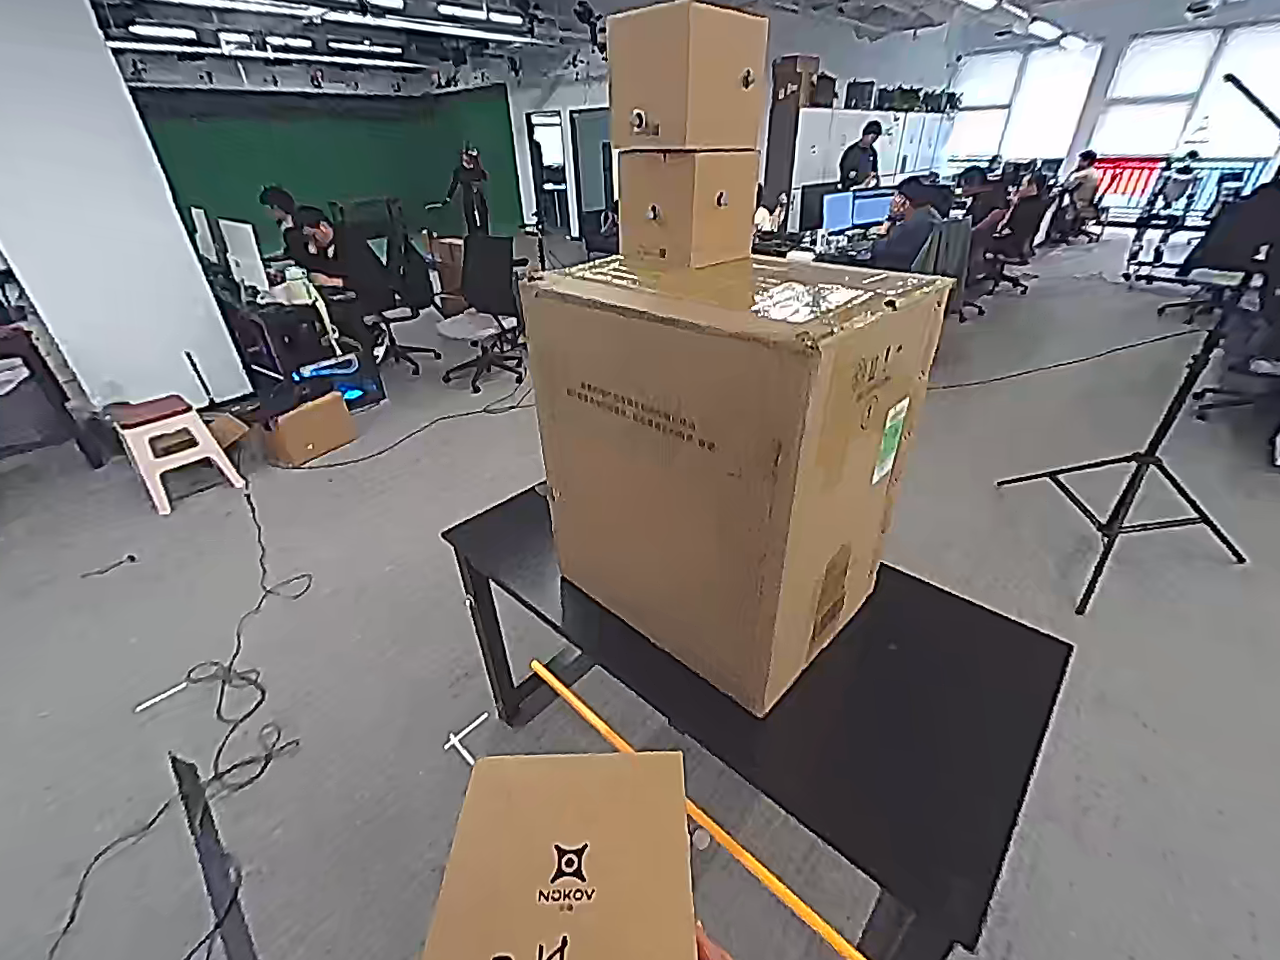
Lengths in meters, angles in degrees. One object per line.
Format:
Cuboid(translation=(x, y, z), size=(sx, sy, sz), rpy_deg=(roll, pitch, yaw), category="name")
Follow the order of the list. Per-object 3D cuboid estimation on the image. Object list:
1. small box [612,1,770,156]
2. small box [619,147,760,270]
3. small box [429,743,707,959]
Cuboid(translation=(0.073, -0.596, 0.823), size=(0.179, 0.176, 0.168), rpy_deg=(-28, 40, -36), category="small box")
Cuboid(translation=(0.084, -0.464, 0.921), size=(0.168, 0.176, 0.179), rpy_deg=(27, 41, 36), category="small box")
Cuboid(translation=(-0.040, 0.325, 0.400), size=(0.168, 0.176, 0.179), rpy_deg=(-2, 31, 1), category="small box")
